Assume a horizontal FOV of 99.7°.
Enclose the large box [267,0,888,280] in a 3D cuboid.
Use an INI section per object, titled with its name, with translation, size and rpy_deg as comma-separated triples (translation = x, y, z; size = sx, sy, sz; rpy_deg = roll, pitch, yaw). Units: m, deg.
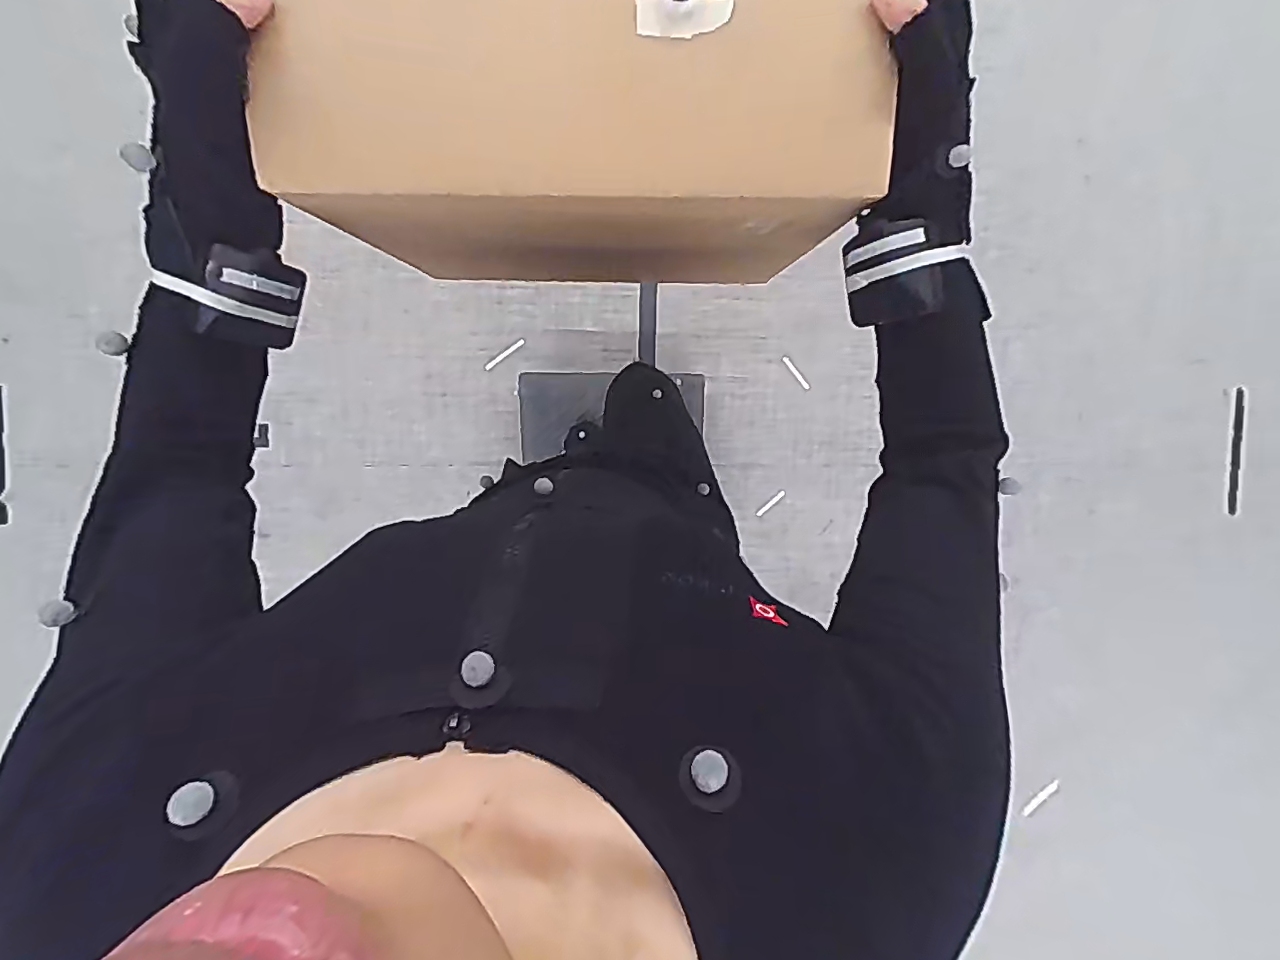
[large box]
translation = -0.042, -0.372, 0.485
size = 0.408, 0.320, 0.320
rpy_deg = 0, 100, -1
